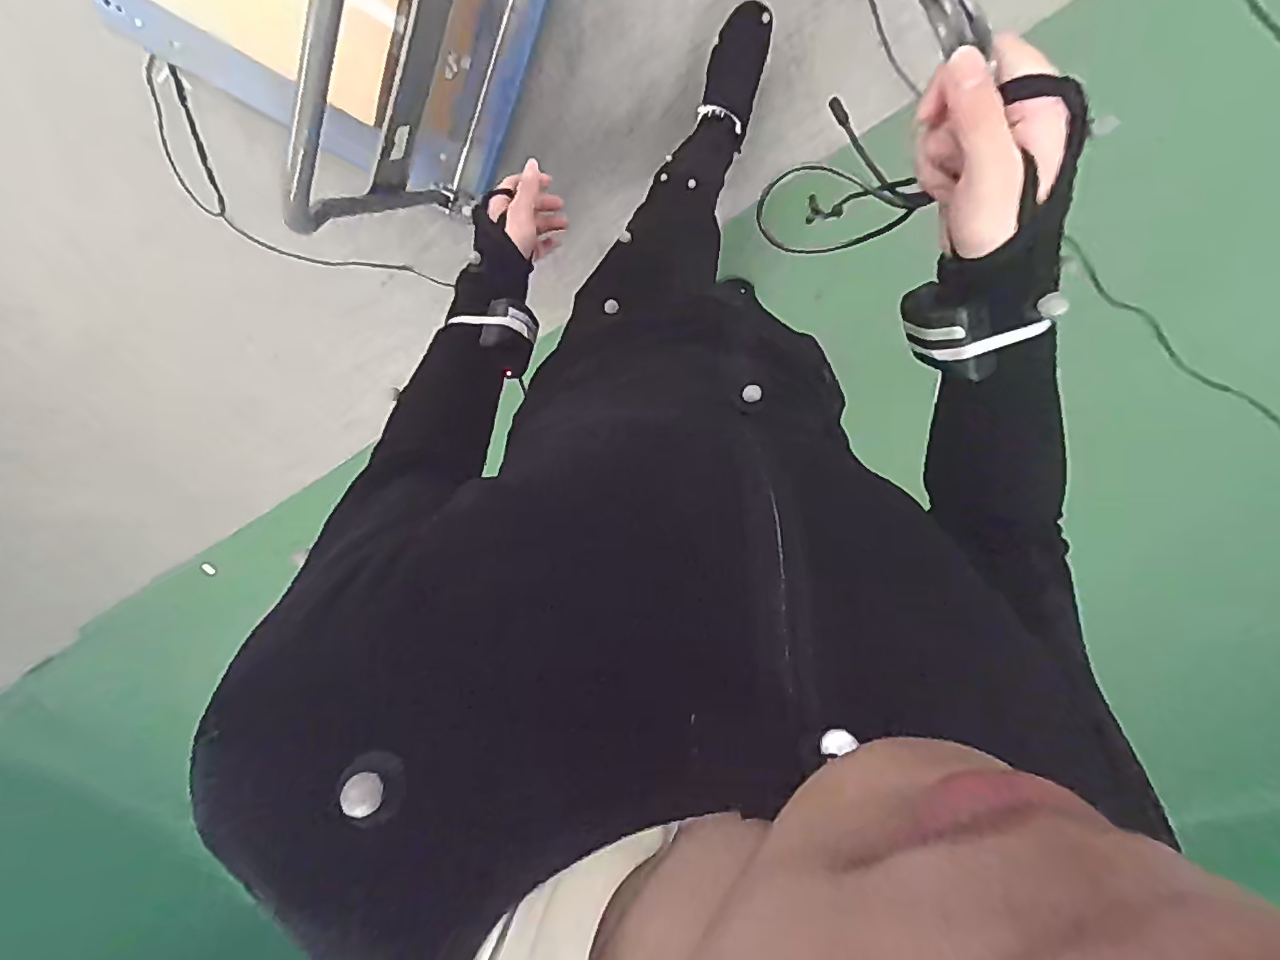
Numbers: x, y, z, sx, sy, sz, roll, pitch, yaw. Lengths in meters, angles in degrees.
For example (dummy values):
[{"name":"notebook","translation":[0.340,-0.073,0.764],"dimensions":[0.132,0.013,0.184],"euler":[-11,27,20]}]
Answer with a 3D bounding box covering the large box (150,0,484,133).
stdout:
[{"name":"large box","translation":[-0.535,-0.872,0.942],"dimensions":[0.408,0.320,0.320],"euler":[27,118,-8]}]
